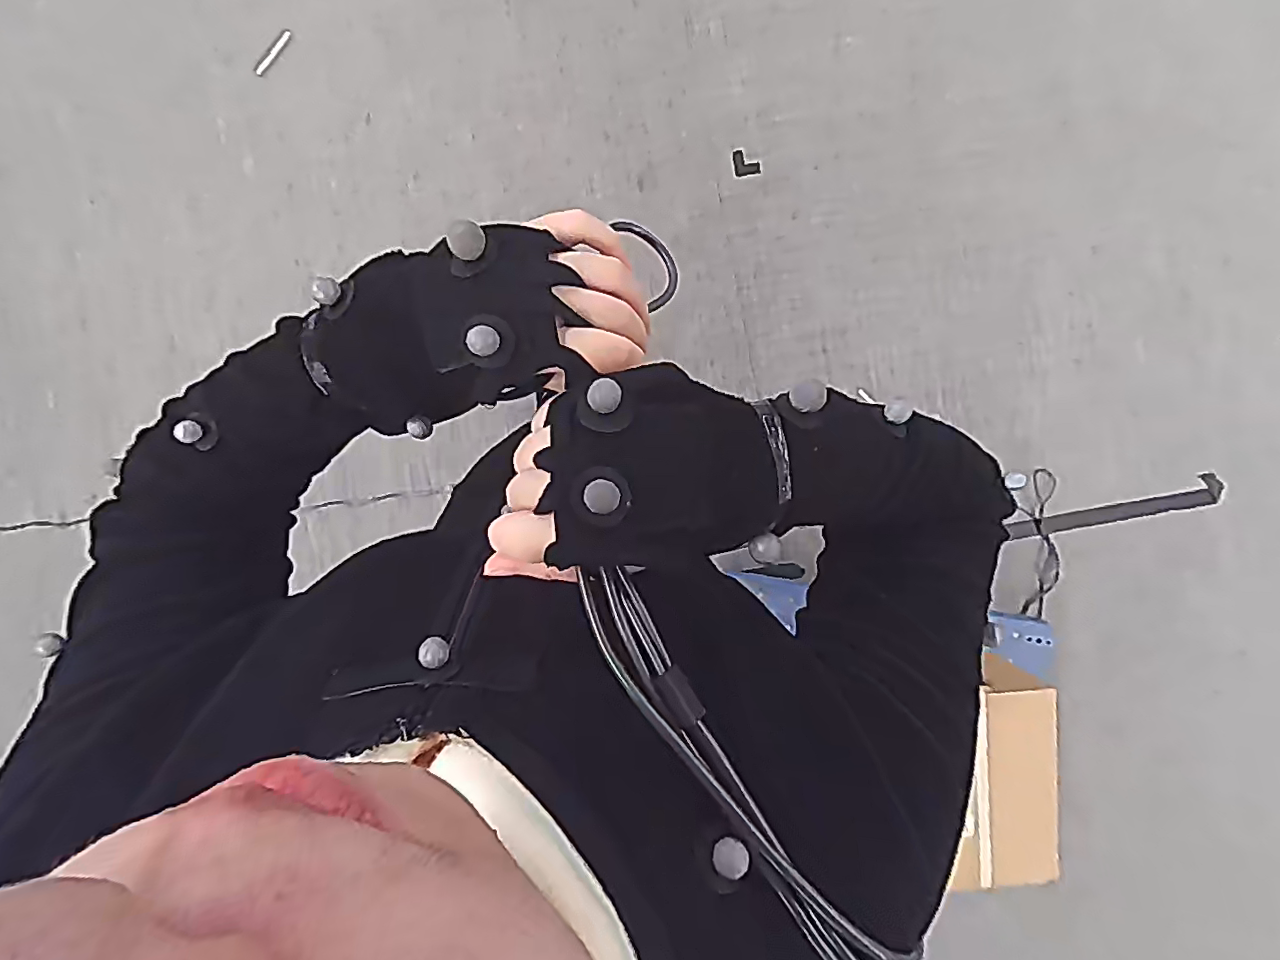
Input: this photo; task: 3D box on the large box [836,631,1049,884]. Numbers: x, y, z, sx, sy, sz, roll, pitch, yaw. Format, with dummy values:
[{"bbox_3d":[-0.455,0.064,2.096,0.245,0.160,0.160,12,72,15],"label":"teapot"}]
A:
[{"bbox_3d":[0.659,0.596,1.225,0.320,0.320,0.408,-3,94,-1],"label":"large box"}]
